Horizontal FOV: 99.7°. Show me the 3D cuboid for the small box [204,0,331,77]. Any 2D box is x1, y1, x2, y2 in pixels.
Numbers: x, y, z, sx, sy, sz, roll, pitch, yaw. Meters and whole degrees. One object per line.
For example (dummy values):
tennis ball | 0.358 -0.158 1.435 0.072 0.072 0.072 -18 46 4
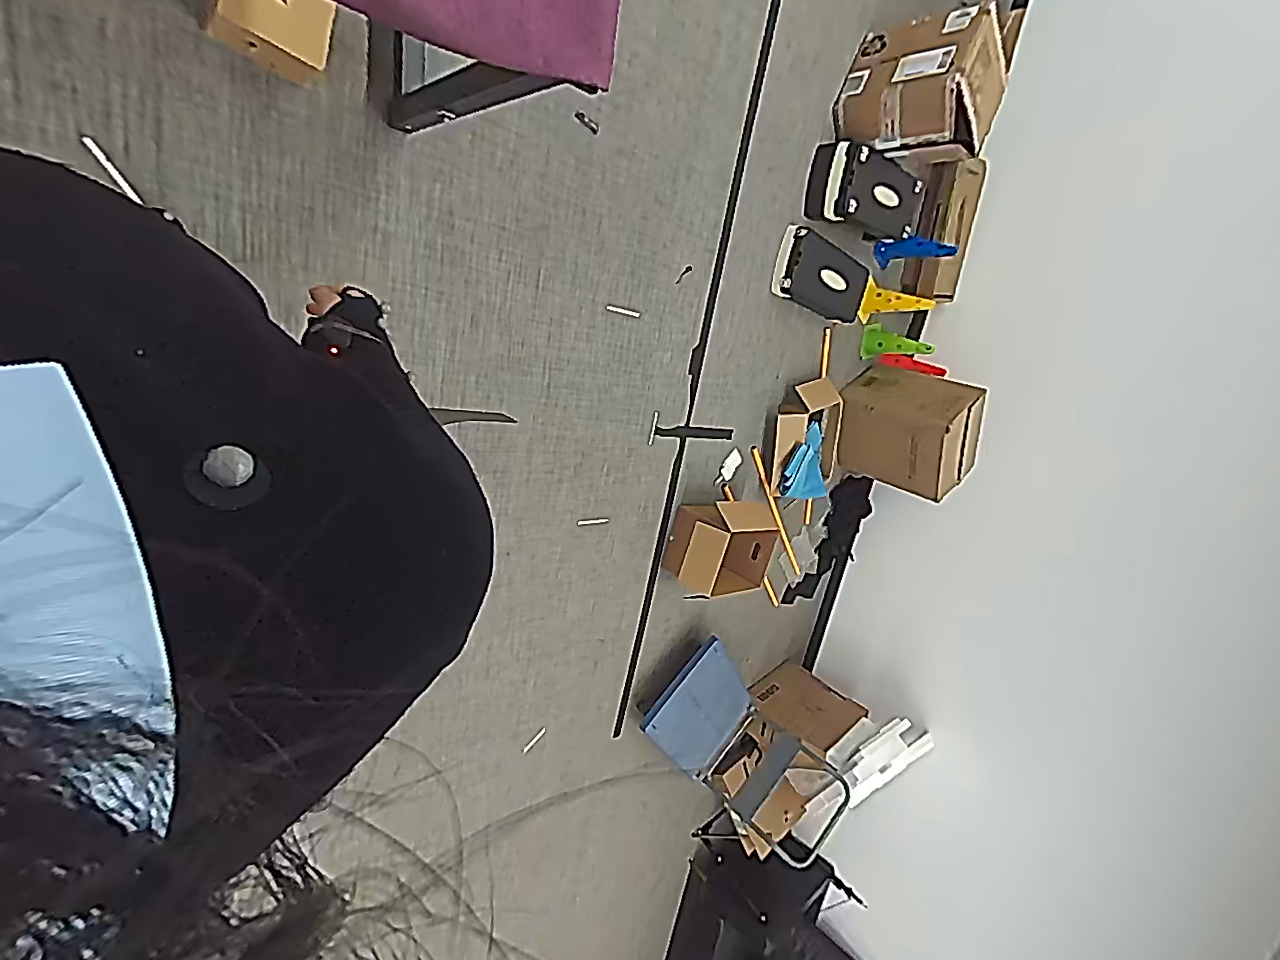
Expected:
small box | -0.692 -0.898 1.007 0.168 0.176 0.179 8 103 -46
